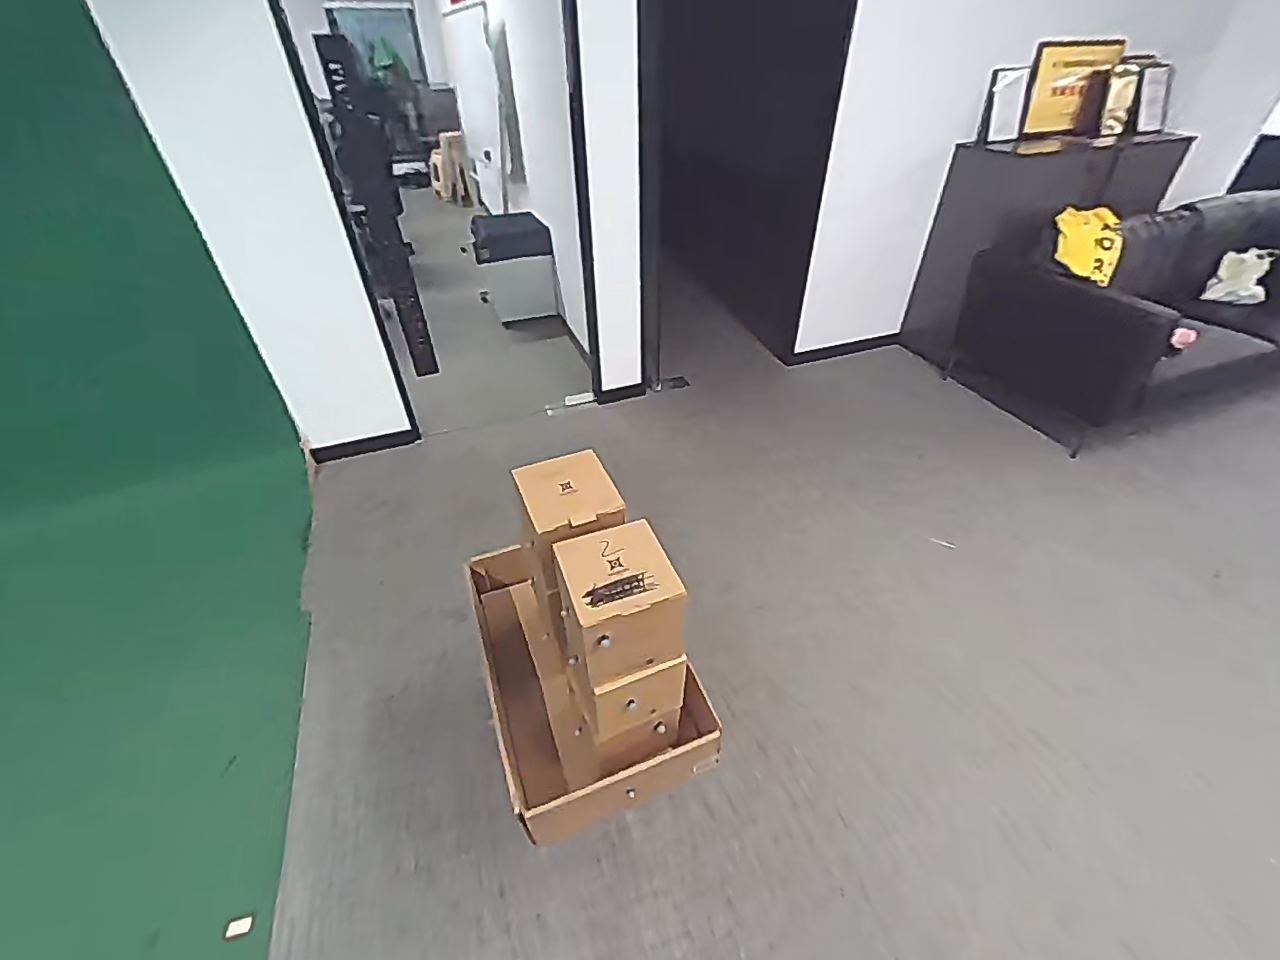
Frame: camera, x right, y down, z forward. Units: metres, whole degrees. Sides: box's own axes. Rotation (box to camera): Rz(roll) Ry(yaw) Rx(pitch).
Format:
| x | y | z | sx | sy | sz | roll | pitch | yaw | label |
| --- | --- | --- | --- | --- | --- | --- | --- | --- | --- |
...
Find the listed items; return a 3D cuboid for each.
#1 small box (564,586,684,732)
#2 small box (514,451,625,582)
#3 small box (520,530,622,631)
| x | y | z | sx | sy | sz | roll | pitch | yaw | label |
| --- | --- | --- | --- | --- | --- | --- | --- | --- | --- |
| -0.031 | 0.332 | 0.989 | 0.168 | 0.176 | 0.179 | -15 | 42 | -17 | small box |
| -0.132 | 0.075 | 1.041 | 0.168 | 0.176 | 0.179 | -15 | 45 | -18 | small box |
| -0.143 | 0.197 | 1.149 | 0.168 | 0.176 | 0.179 | -18 | 45 | -20 | small box |
